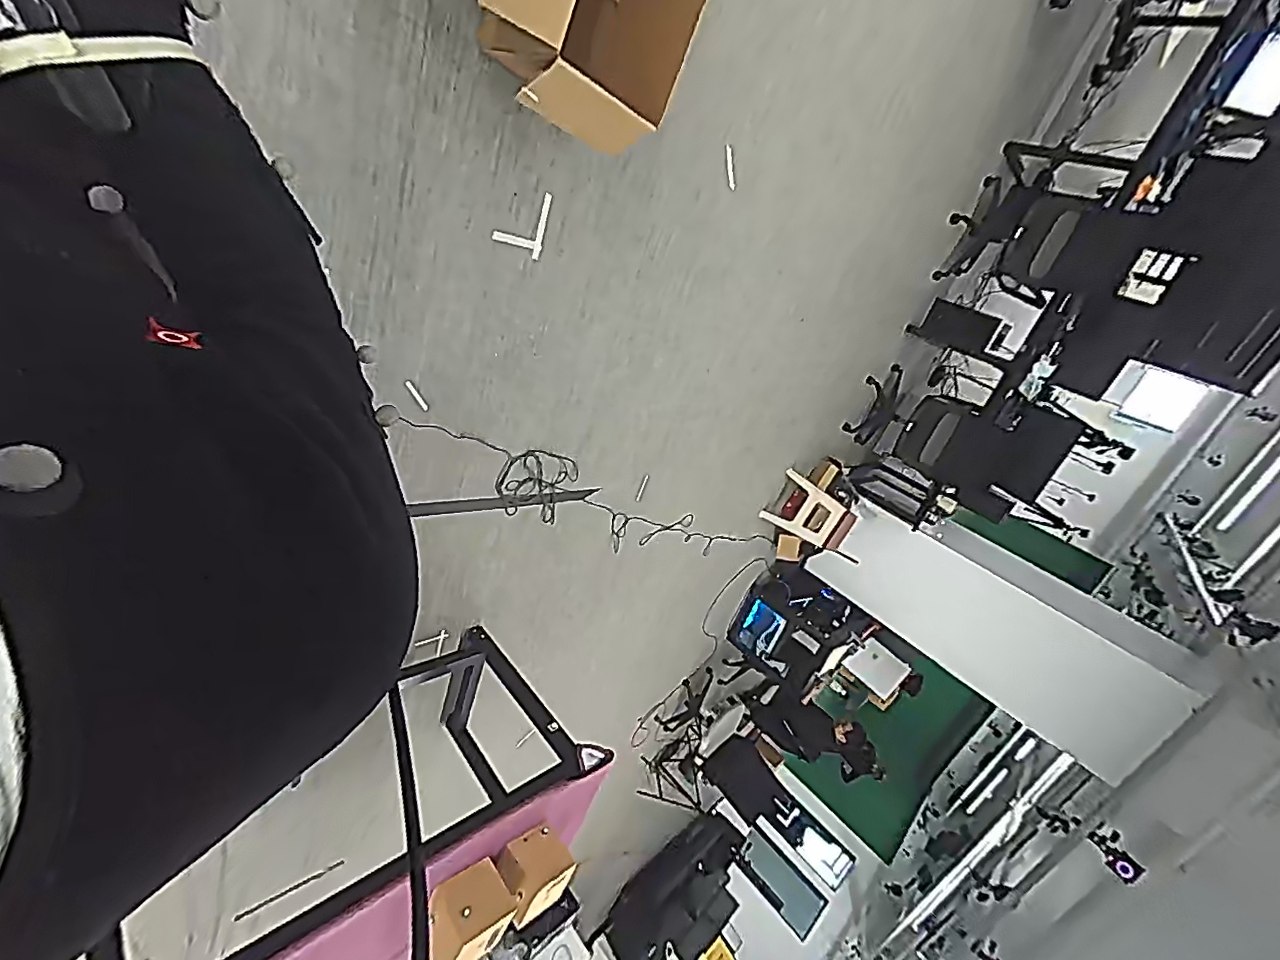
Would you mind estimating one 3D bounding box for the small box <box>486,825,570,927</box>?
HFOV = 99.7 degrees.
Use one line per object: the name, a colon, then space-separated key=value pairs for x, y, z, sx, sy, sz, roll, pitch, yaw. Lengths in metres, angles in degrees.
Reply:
small box: x=-0.355 y=1.225 z=1.694 sx=0.168 sy=0.176 sz=0.179 roll=3 pitch=118 yaw=-51
